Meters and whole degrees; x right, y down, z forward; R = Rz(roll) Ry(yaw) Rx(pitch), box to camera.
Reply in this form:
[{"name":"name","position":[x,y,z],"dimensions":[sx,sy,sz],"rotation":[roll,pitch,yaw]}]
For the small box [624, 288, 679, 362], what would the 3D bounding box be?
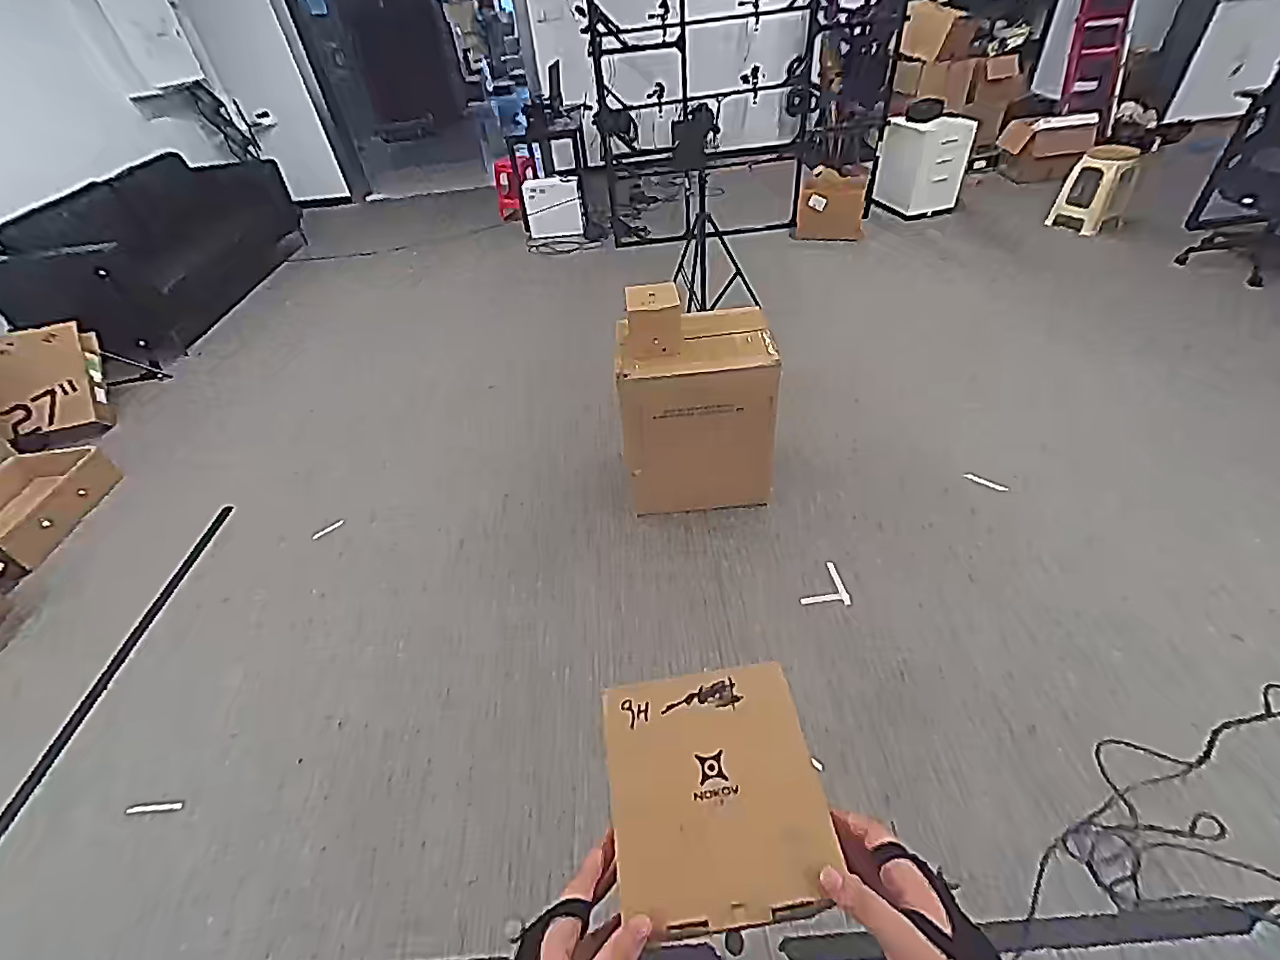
[{"name":"small box","position":[0.039,-0.510,1.779],"dimensions":[0.168,0.176,0.179],"rotation":[-6,44,0]}]
